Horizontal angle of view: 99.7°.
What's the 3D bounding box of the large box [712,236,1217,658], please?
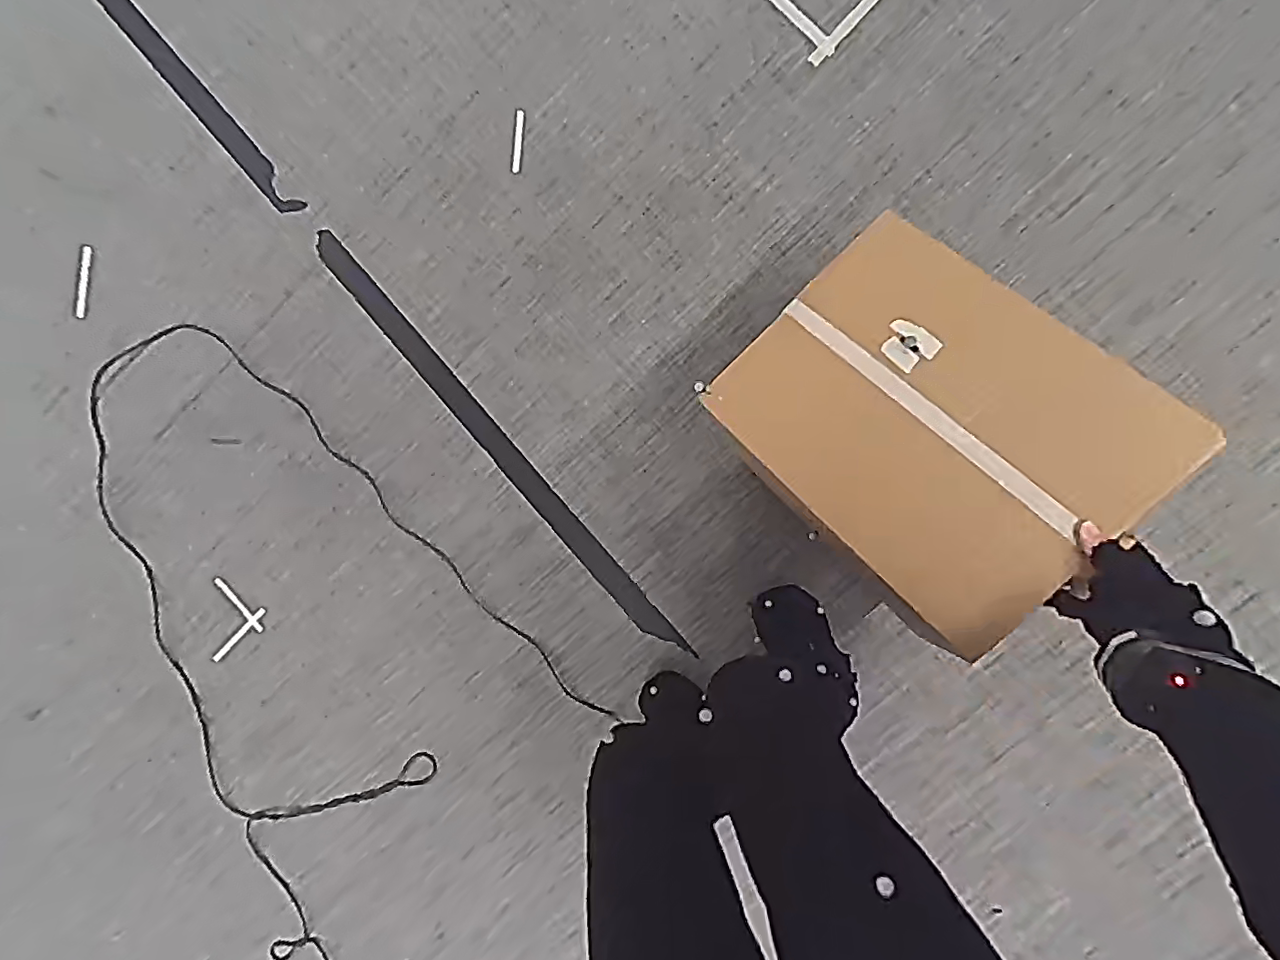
[{"bbox_3d":[0.368,-0.028,0.735,0.320,0.320,0.408,-44,69,4],"label":"large box"}]
